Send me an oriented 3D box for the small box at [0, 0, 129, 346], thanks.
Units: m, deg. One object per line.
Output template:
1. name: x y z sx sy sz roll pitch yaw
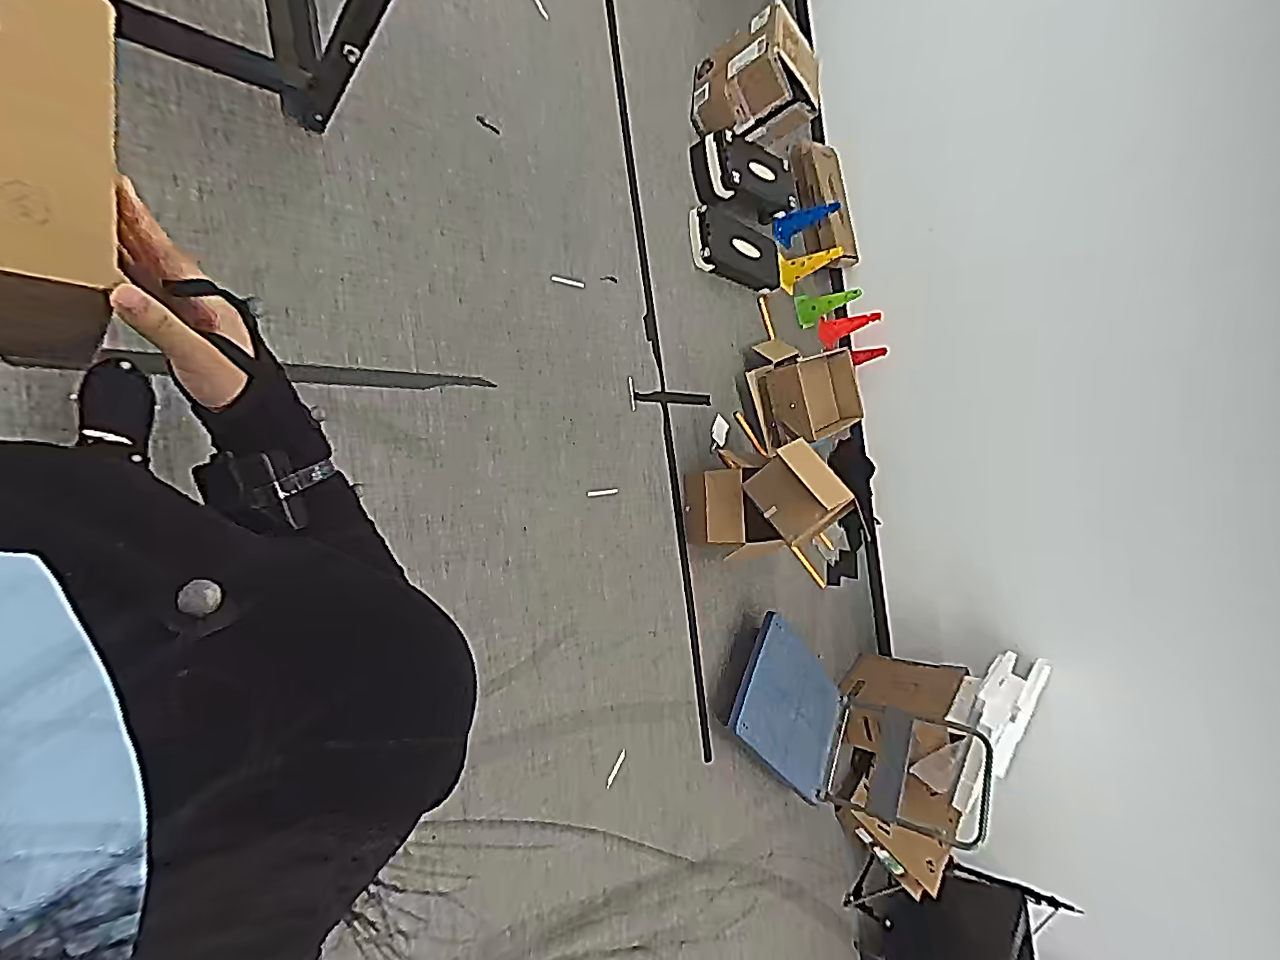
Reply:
1. small box: -0.401 -0.187 0.296 0.168 0.176 0.179 -1 84 -49
